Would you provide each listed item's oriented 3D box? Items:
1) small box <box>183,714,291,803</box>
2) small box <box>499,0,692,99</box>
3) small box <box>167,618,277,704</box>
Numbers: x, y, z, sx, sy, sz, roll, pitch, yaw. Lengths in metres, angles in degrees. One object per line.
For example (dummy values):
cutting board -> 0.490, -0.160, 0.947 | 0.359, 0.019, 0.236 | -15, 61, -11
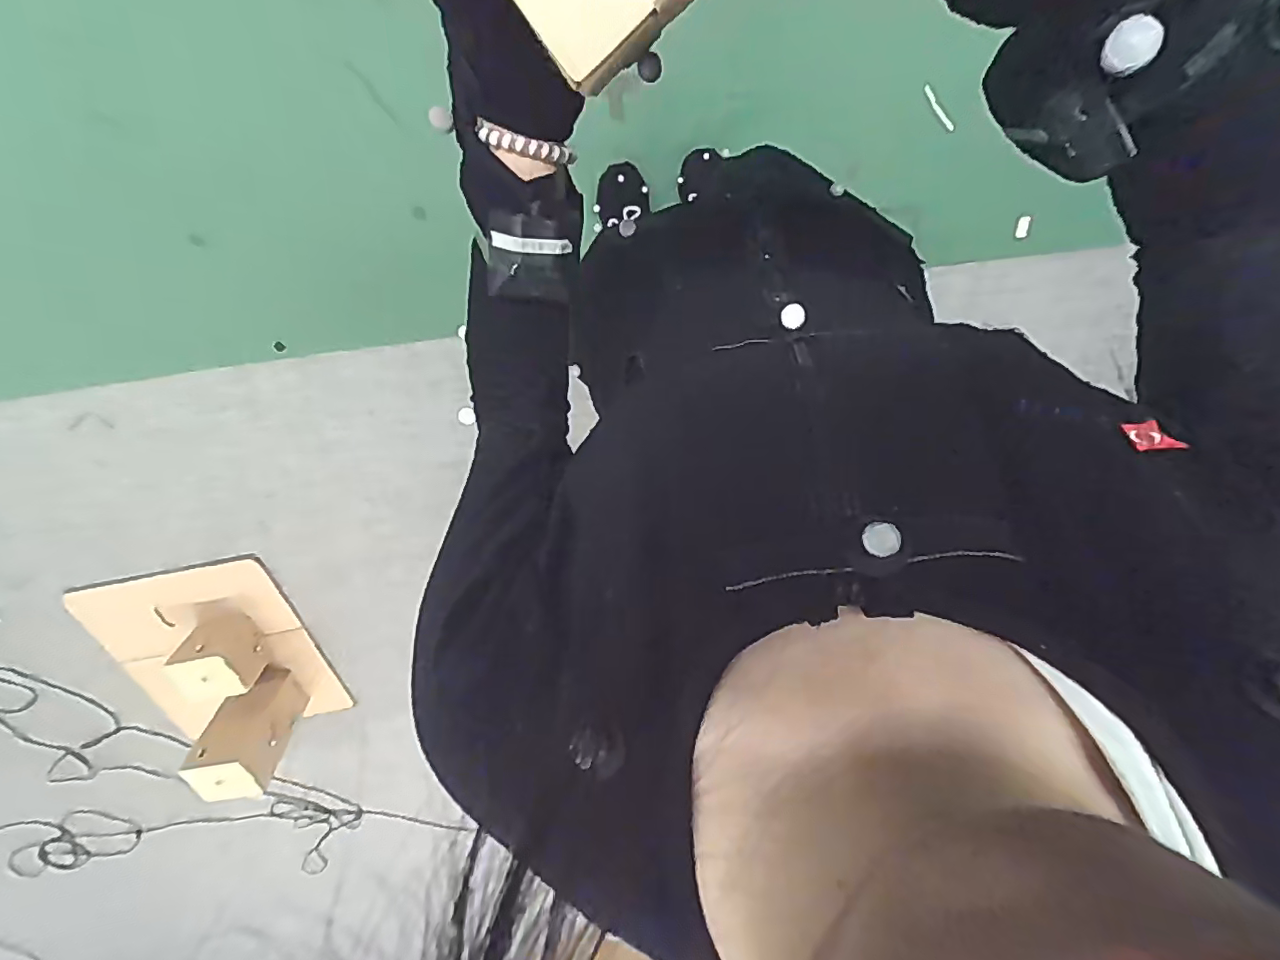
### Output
small box -> -1.216, 0.845, 1.647 | 0.179, 0.176, 0.168 | -9, 121, -2
small box -> -0.014, -0.264, 0.171 | 0.168, 0.176, 0.179 | -35, 119, 19
small box -> -1.280, 0.556, 1.672 | 0.179, 0.176, 0.168 | -13, 119, 0
